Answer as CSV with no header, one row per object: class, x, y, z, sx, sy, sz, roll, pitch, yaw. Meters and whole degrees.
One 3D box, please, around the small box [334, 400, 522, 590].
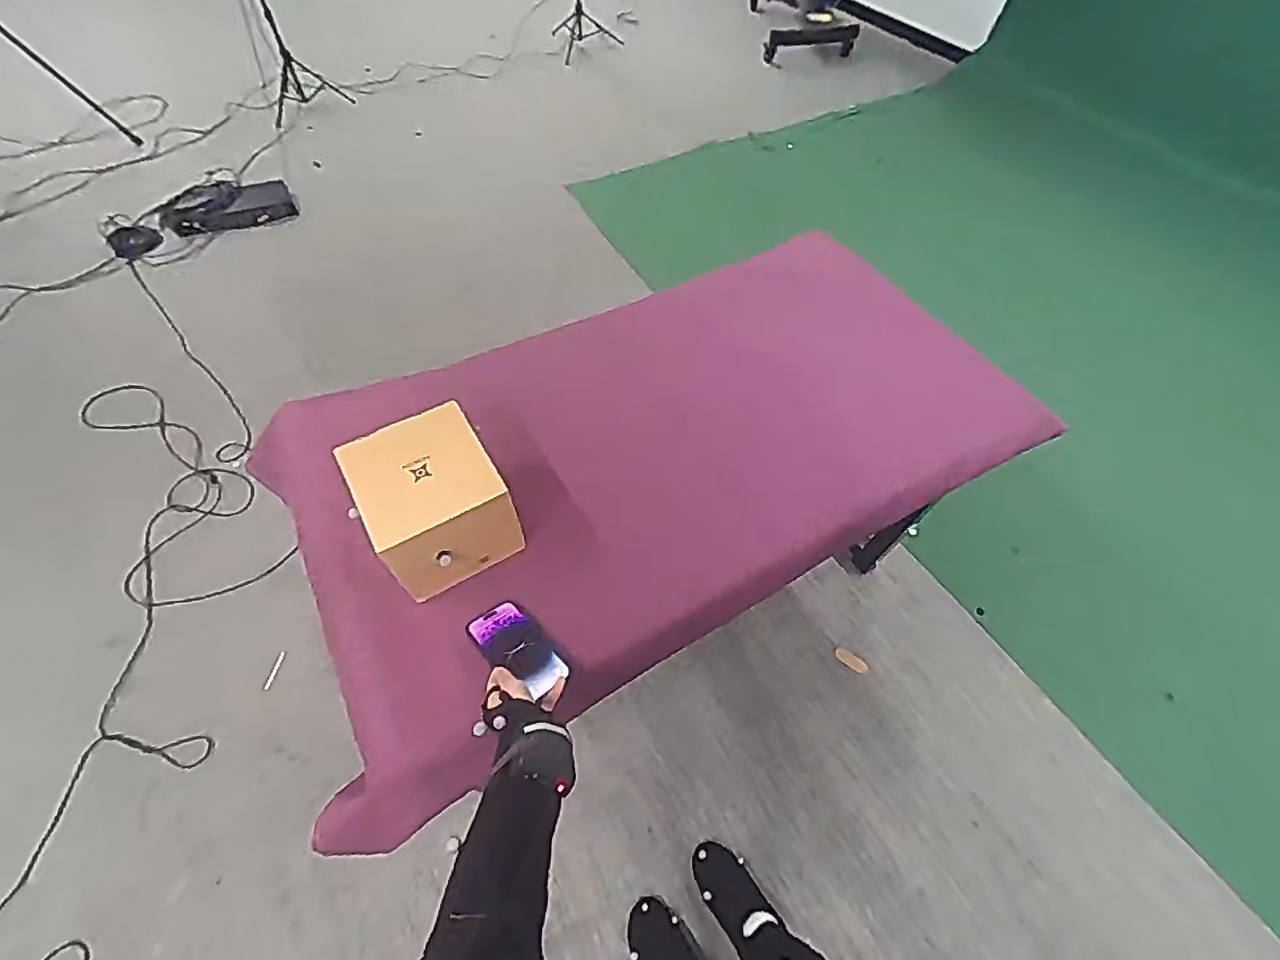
small box,-0.278,0.030,0.742,0.168,0.176,0.179,-28,61,-19
